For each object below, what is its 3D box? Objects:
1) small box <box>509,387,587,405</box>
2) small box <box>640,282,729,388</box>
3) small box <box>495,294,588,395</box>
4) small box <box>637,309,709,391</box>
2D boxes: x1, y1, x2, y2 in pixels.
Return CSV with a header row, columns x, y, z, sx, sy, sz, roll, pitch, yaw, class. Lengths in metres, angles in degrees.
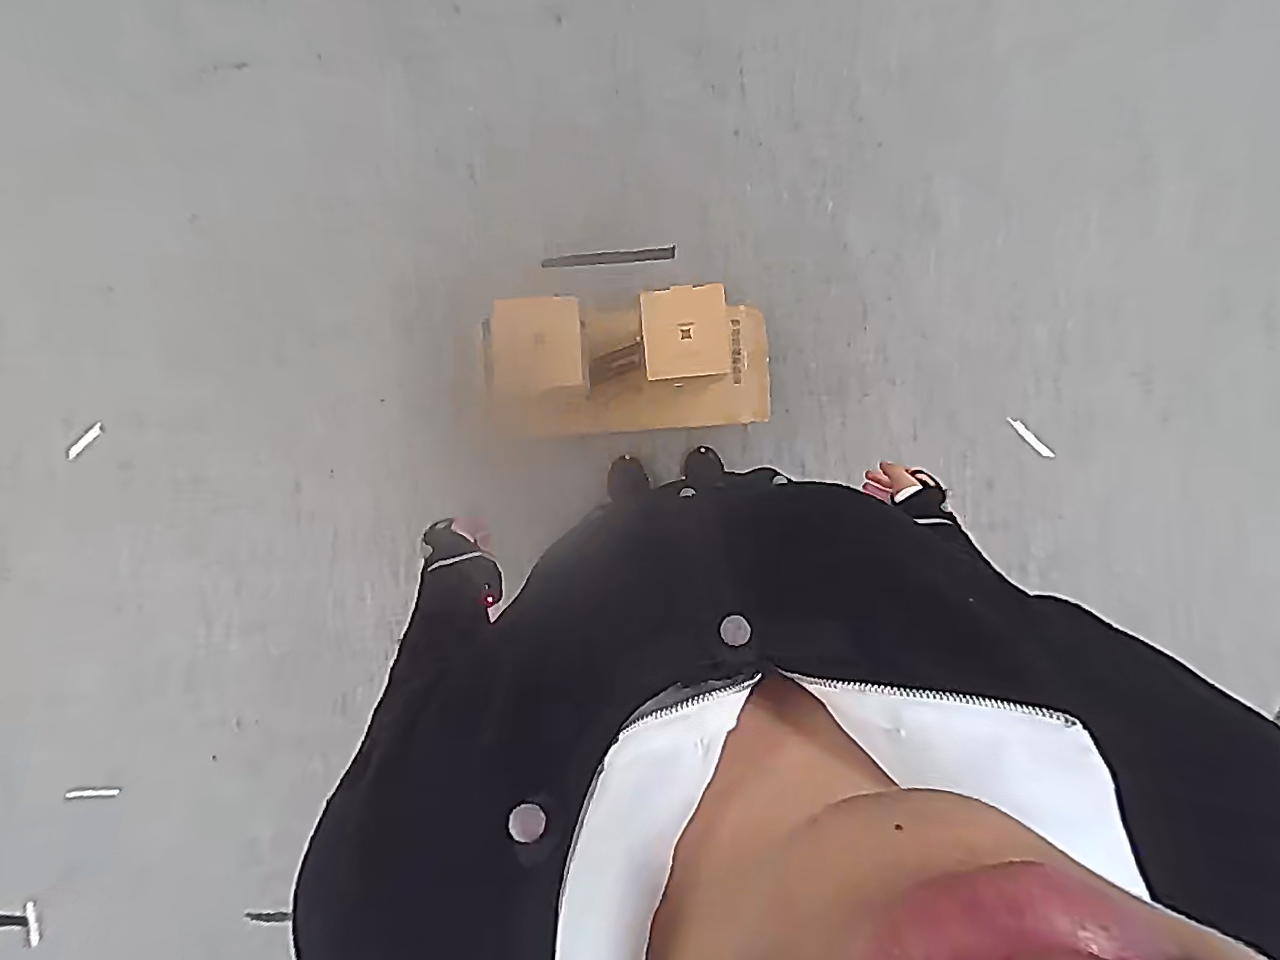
x,y,z,sx,sy,sz,roll,pitch,yaw,class
-0.220,-0.277,1.295,0.168,0.176,0.179,-4,94,0,small box
0.087,-0.296,1.132,0.168,0.176,0.179,-6,94,2,small box
-0.200,-0.276,1.130,0.168,0.176,0.179,-2,94,0,small box
0.081,-0.307,1.296,0.168,0.176,0.179,-3,94,2,small box
